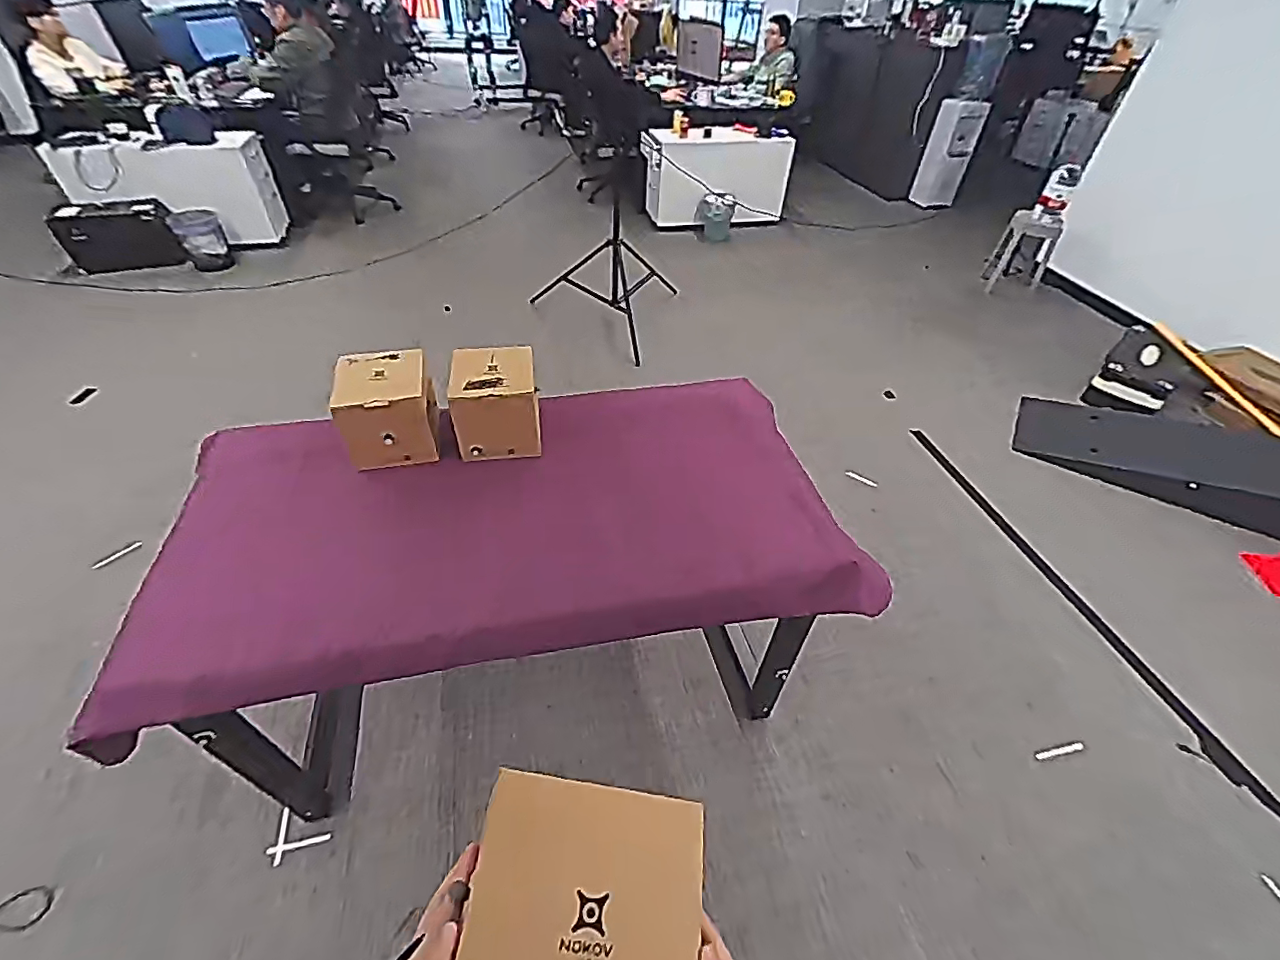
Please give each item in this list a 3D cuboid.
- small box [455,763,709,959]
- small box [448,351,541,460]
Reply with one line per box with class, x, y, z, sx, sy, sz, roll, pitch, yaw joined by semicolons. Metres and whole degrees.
small box;-0.053;0.354;0.430;0.168;0.176;0.179;15;48;-7
small box;-0.303;-0.154;1.155;0.168;0.176;0.179;-5;45;-9
